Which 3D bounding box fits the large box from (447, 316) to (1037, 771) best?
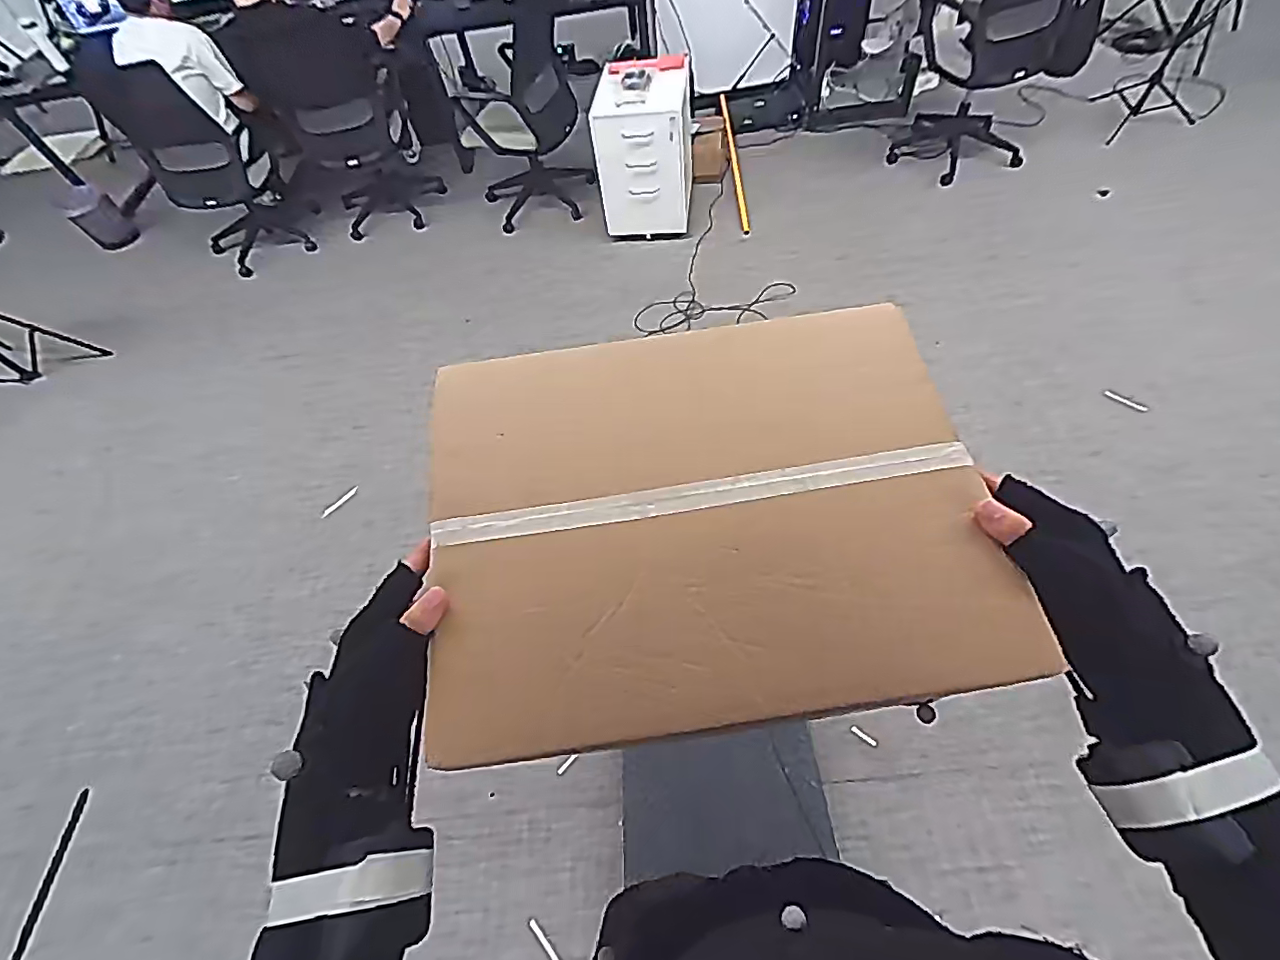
[{"bbox_3d":[0.058,0.083,0.552,0.408,0.320,0.320,-9,64,0],"label":"large box"}]
